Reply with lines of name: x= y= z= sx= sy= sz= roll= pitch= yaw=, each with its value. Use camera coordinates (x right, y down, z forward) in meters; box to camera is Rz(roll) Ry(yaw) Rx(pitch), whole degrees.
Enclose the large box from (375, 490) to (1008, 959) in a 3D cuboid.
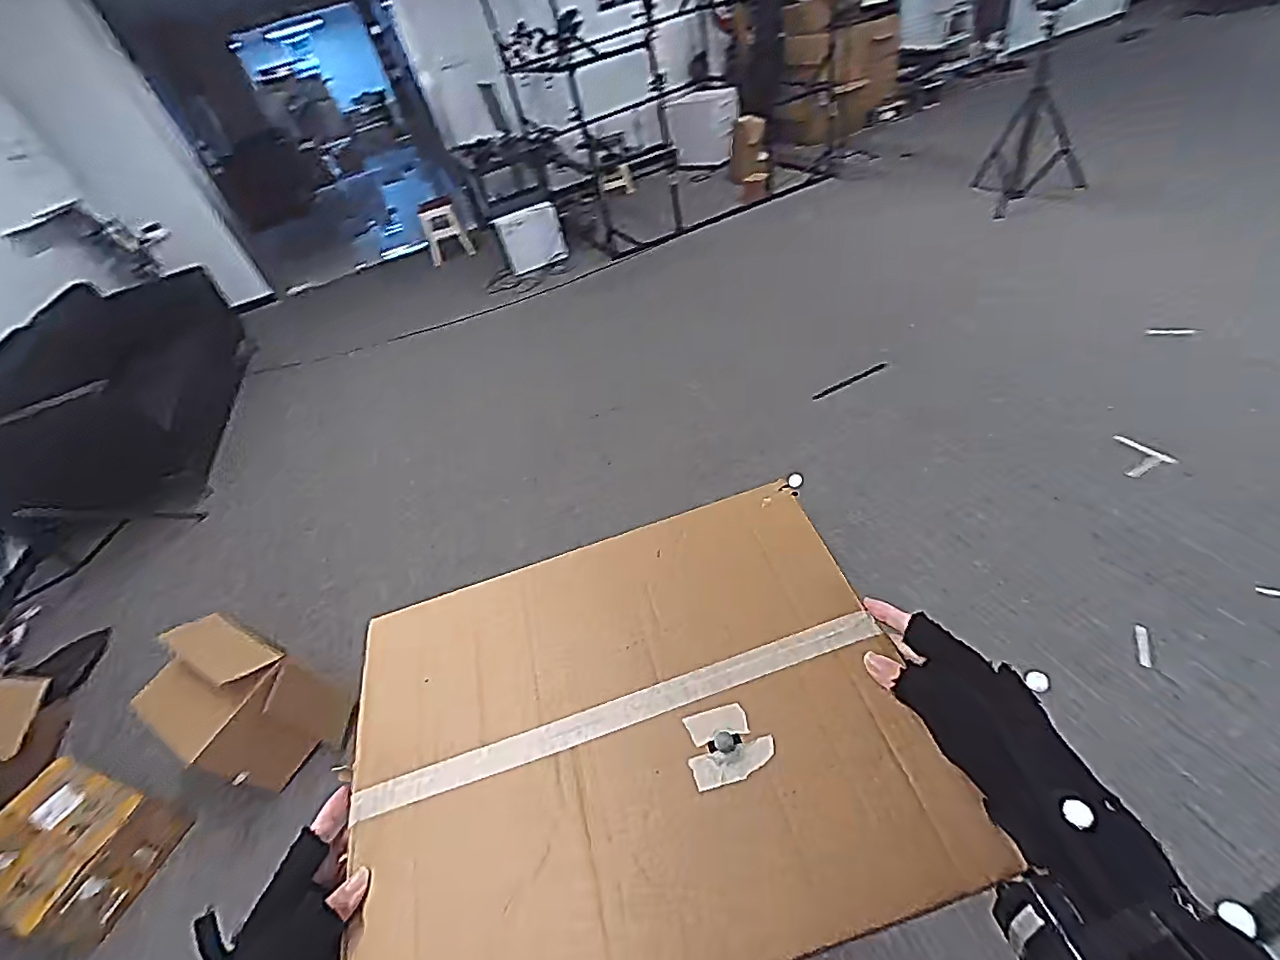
large box: x=0.022 y=0.273 z=0.522 sx=0.408 sy=0.320 sz=0.320 roll=-18 pitch=49 yaw=-2
